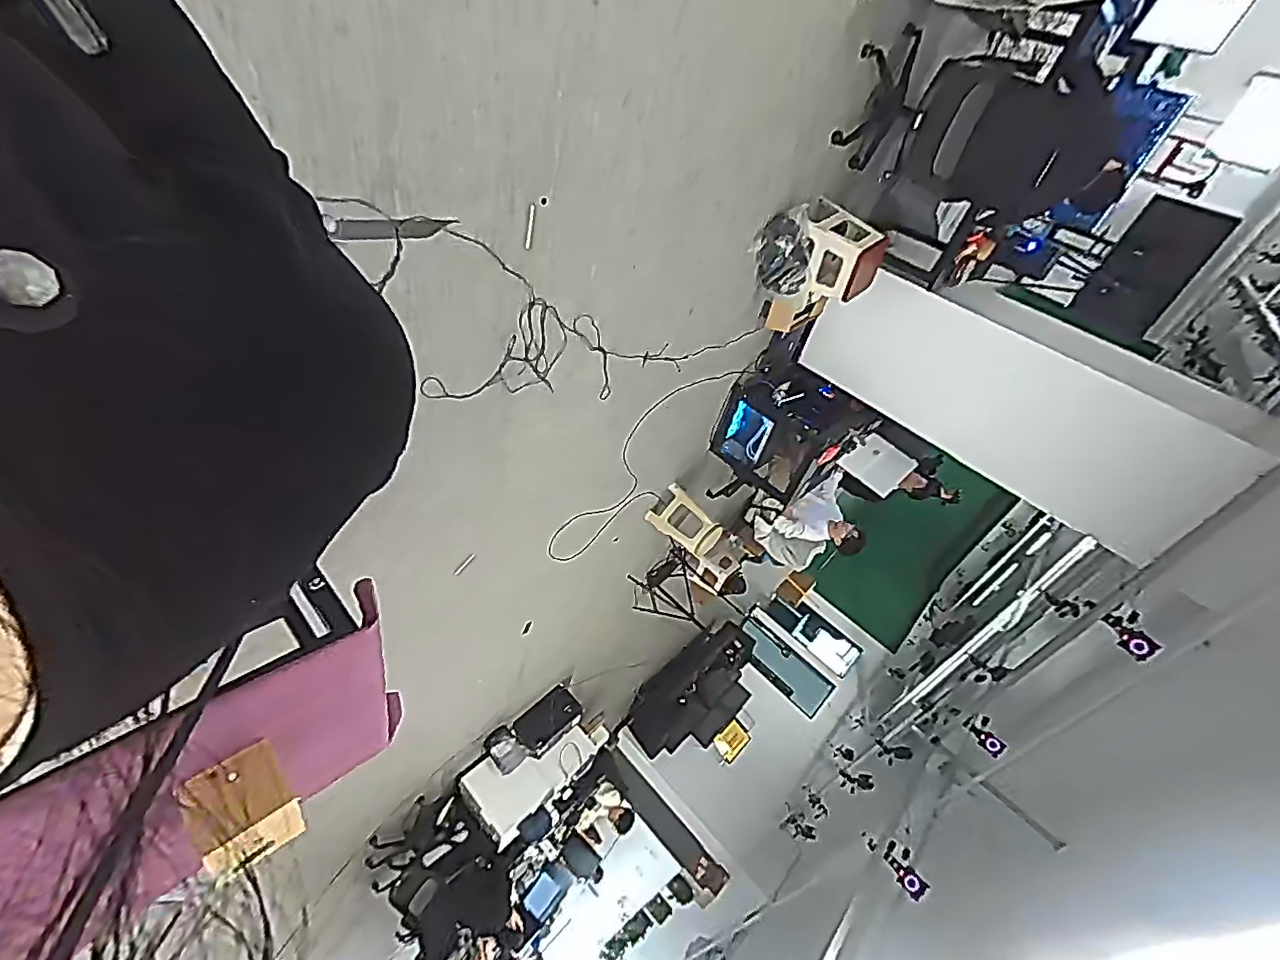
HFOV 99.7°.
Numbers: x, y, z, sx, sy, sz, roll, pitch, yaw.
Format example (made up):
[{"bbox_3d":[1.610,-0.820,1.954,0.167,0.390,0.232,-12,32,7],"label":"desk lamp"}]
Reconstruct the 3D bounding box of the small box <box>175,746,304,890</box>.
[{"bbox_3d":[-0.843,0.709,1.148,0.168,0.176,0.179,-25,144,-43],"label":"small box"}]
